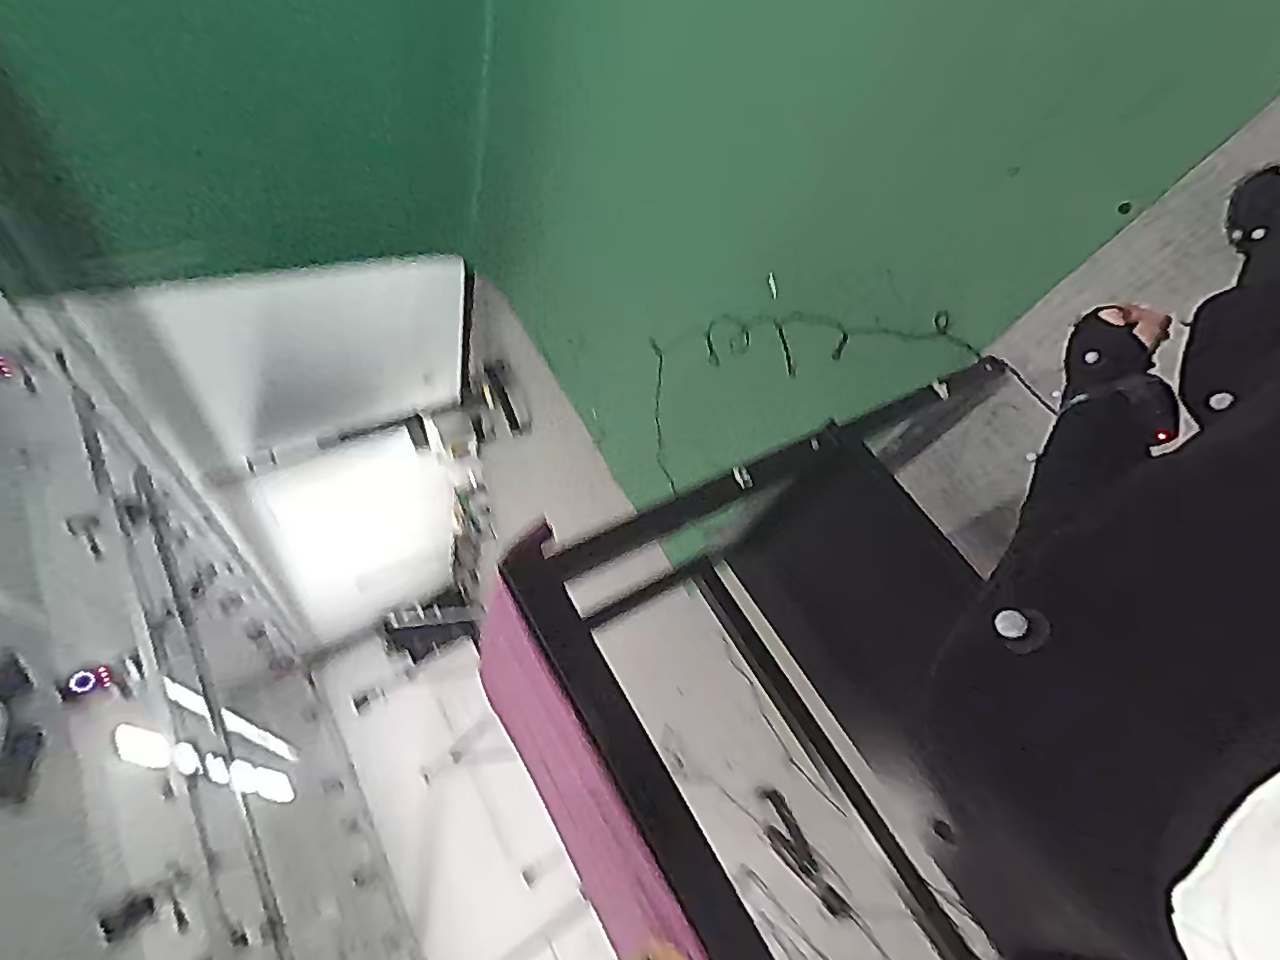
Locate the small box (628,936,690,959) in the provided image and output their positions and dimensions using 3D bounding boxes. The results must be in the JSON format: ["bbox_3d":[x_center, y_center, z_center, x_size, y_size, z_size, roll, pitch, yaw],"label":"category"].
[{"bbox_3d":[0.021,0.695,0.631,0.179,0.176,0.168,56,148,21],"label":"small box"}]
